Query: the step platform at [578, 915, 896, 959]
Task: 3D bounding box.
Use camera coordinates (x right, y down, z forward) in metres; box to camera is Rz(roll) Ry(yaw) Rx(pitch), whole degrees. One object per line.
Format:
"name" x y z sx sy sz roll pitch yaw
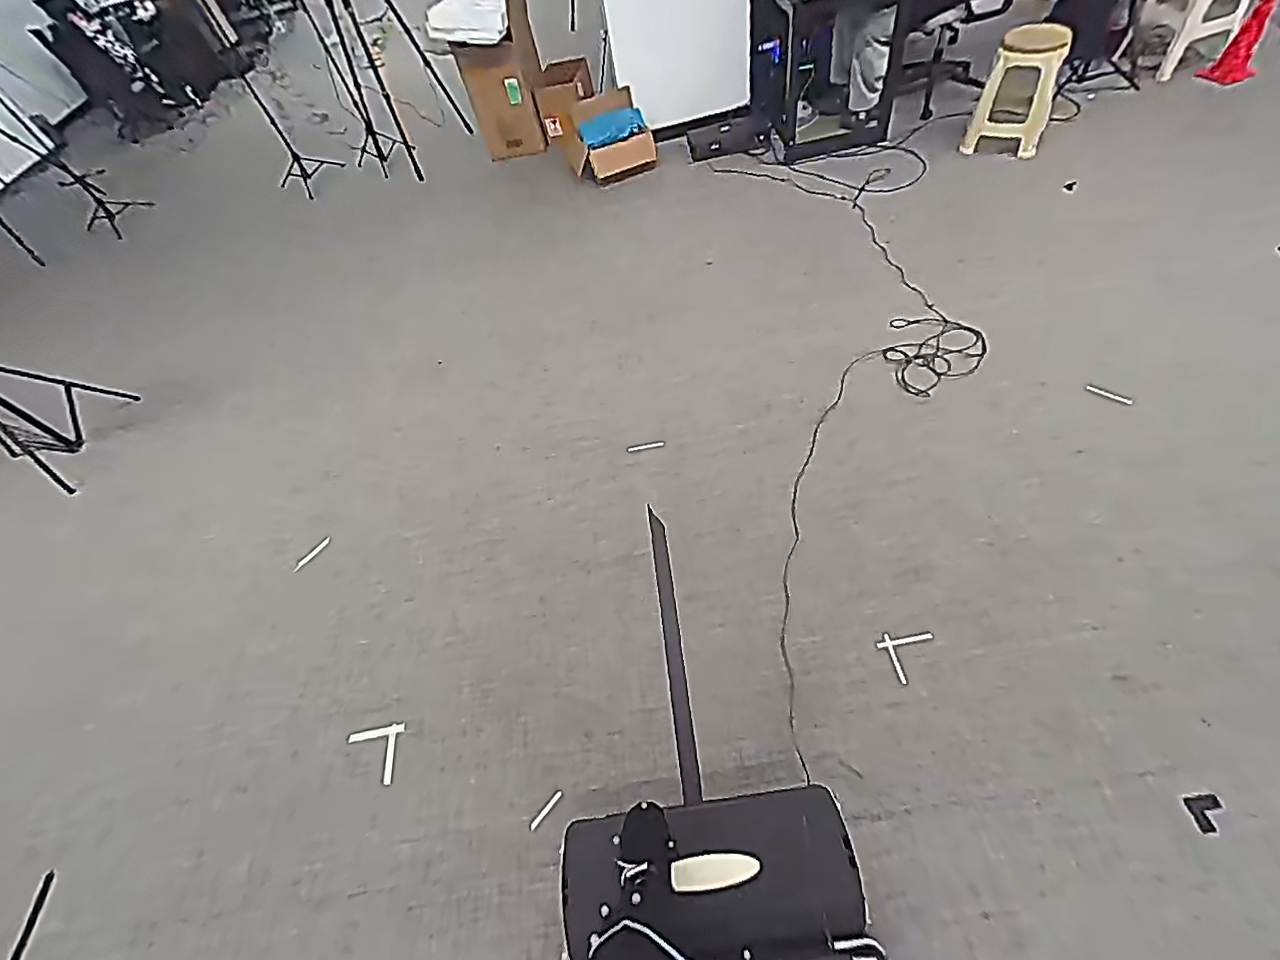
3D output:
"step platform" 0.187 1.077 1.056 0.684 0.204 0.286 -12 53 5
